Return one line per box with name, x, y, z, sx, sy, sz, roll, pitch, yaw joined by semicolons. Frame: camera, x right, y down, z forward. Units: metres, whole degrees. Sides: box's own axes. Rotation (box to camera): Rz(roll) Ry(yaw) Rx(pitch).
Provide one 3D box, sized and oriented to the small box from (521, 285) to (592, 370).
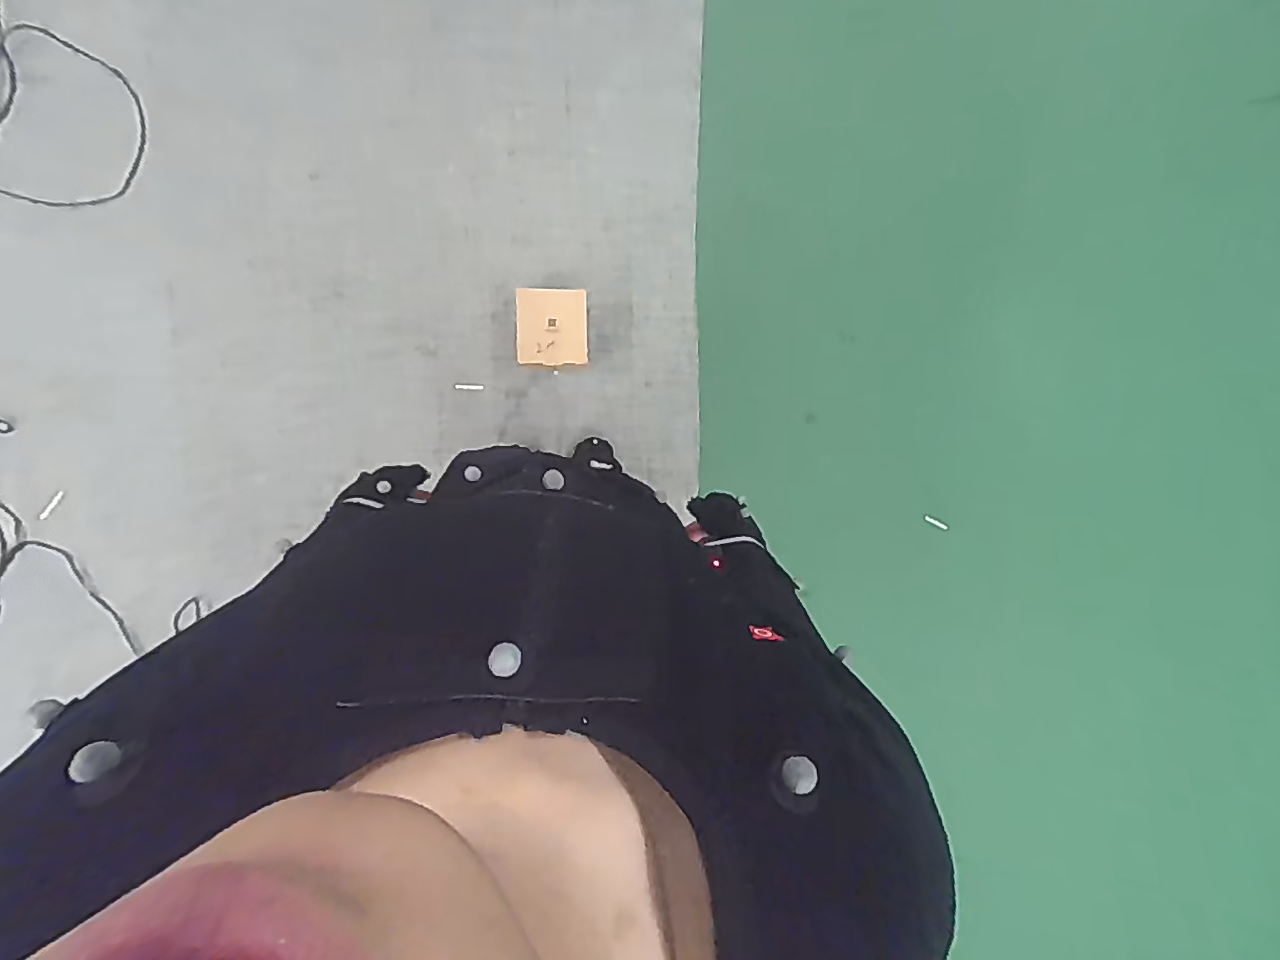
small box;-0.206;-0.376;1.356;0.168;0.176;0.179;0;96;-4
